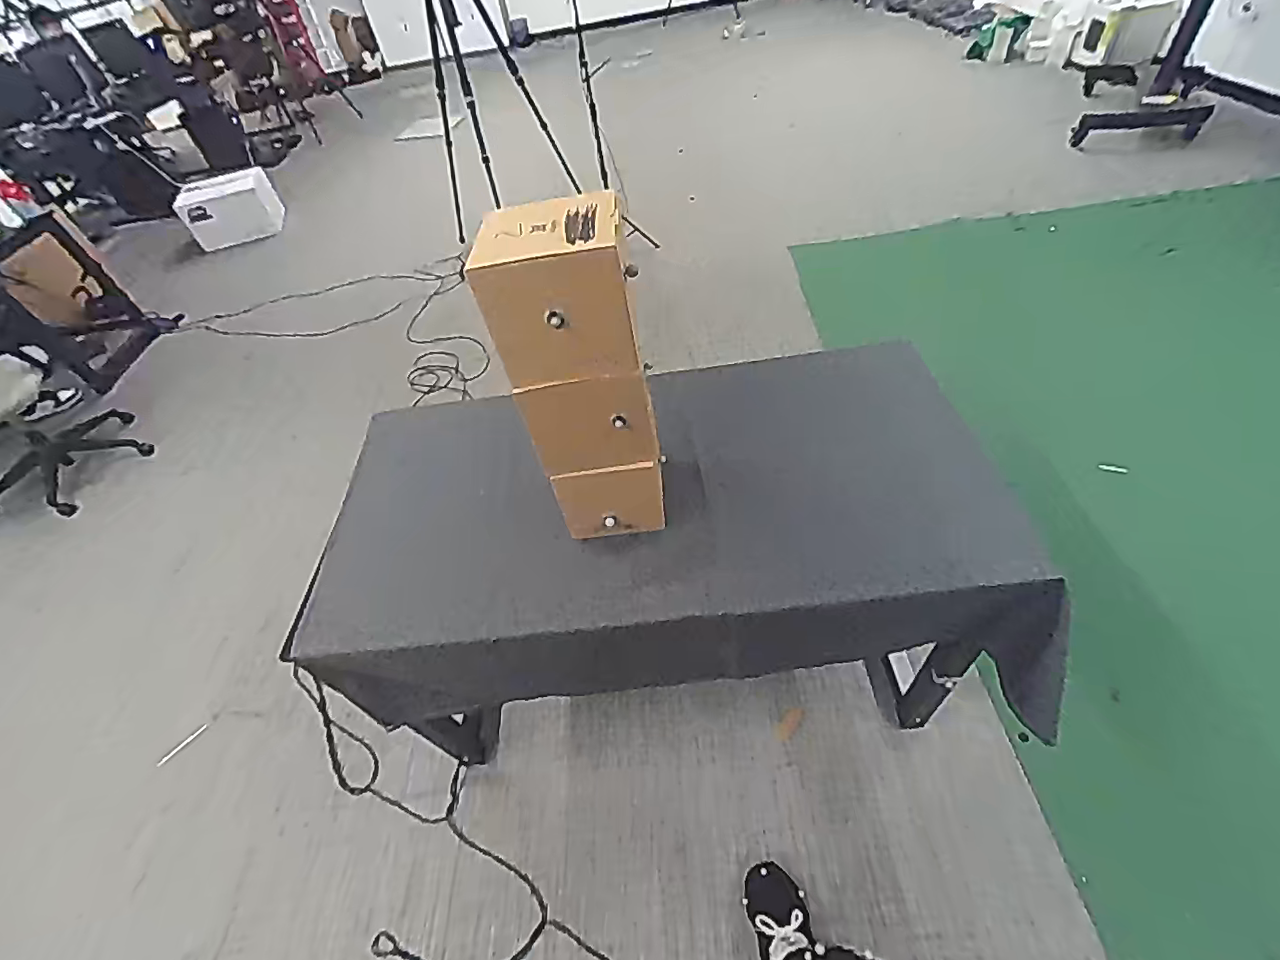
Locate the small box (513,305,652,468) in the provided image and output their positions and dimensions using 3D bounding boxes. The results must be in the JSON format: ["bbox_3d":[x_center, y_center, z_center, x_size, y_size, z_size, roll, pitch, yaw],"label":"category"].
[{"bbox_3d":[-0.077,-0.138,0.822,0.179,0.176,0.168,-8,47,4],"label":"small box"}]

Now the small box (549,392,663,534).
[{"bbox_3d":[-0.051,-0.029,0.940,0.168,0.176,0.179,-6,49,5],"label":"small box"}]
